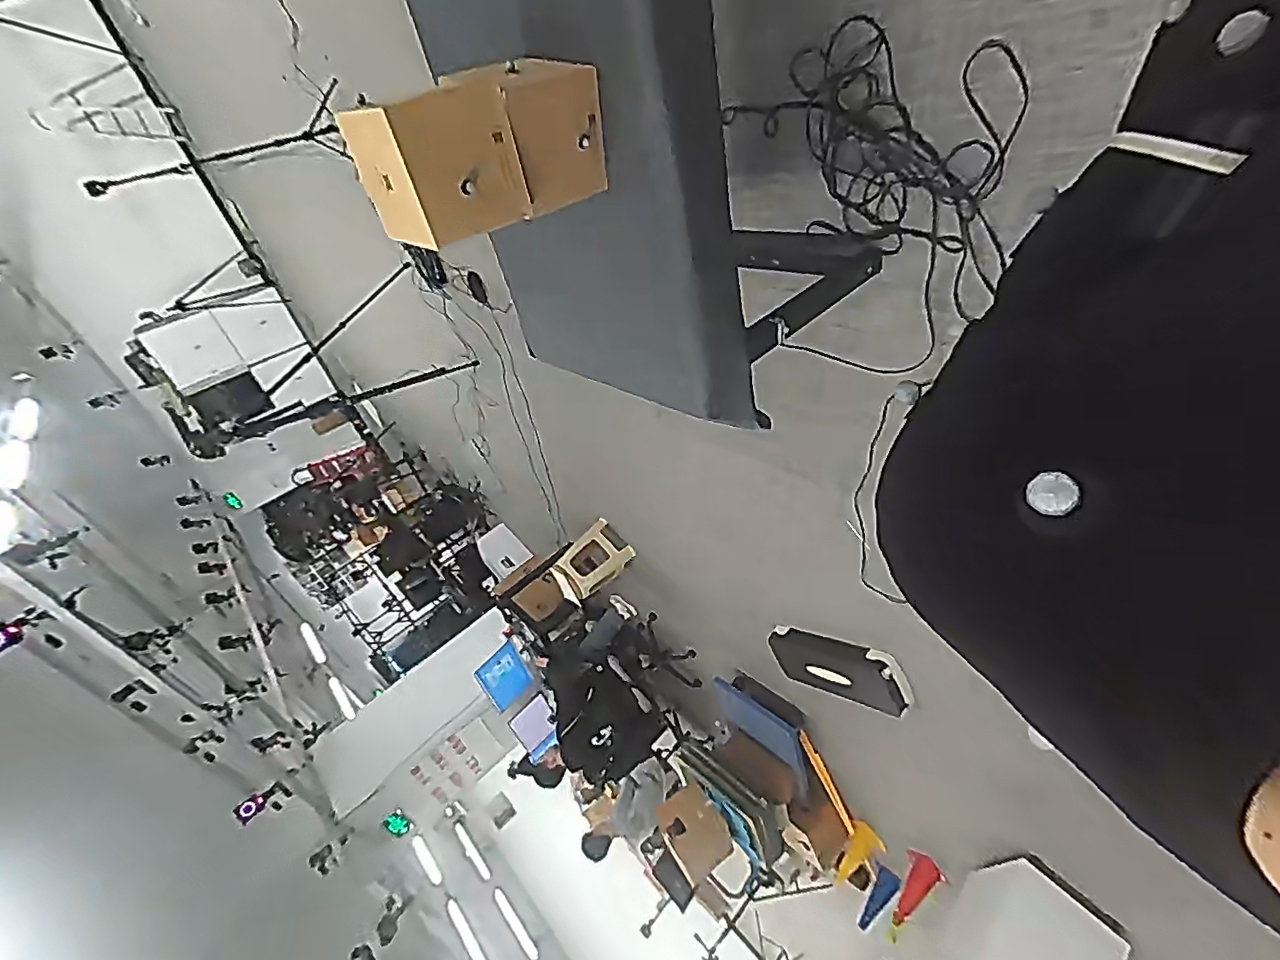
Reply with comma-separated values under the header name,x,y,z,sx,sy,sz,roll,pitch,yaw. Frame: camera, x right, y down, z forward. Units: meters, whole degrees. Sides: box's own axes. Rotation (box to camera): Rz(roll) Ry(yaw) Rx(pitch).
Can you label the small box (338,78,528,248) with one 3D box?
name,x,y,z,sx,sy,sz,roll,pitch,yaw
small box,-0.278,-0.448,0.764,0.179,0.176,0.168,29,145,39
